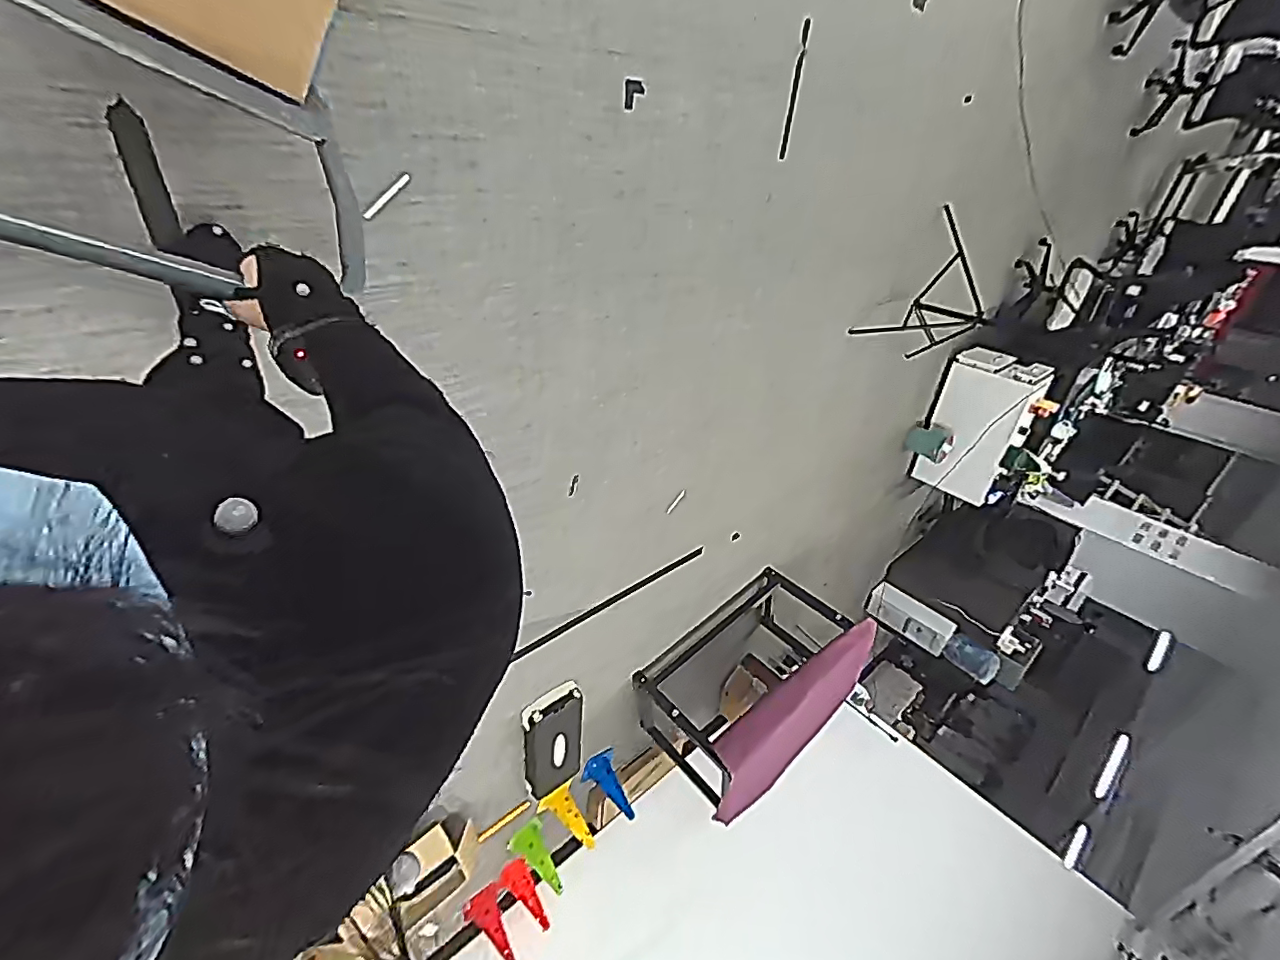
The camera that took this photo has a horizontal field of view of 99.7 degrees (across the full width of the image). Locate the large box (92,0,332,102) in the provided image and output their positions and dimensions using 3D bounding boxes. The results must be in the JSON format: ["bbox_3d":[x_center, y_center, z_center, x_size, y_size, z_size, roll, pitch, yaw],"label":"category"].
[{"bbox_3d":[-0.590,-0.749,0.609,0.408,0.320,0.320,5,136,-49],"label":"large box"}]
